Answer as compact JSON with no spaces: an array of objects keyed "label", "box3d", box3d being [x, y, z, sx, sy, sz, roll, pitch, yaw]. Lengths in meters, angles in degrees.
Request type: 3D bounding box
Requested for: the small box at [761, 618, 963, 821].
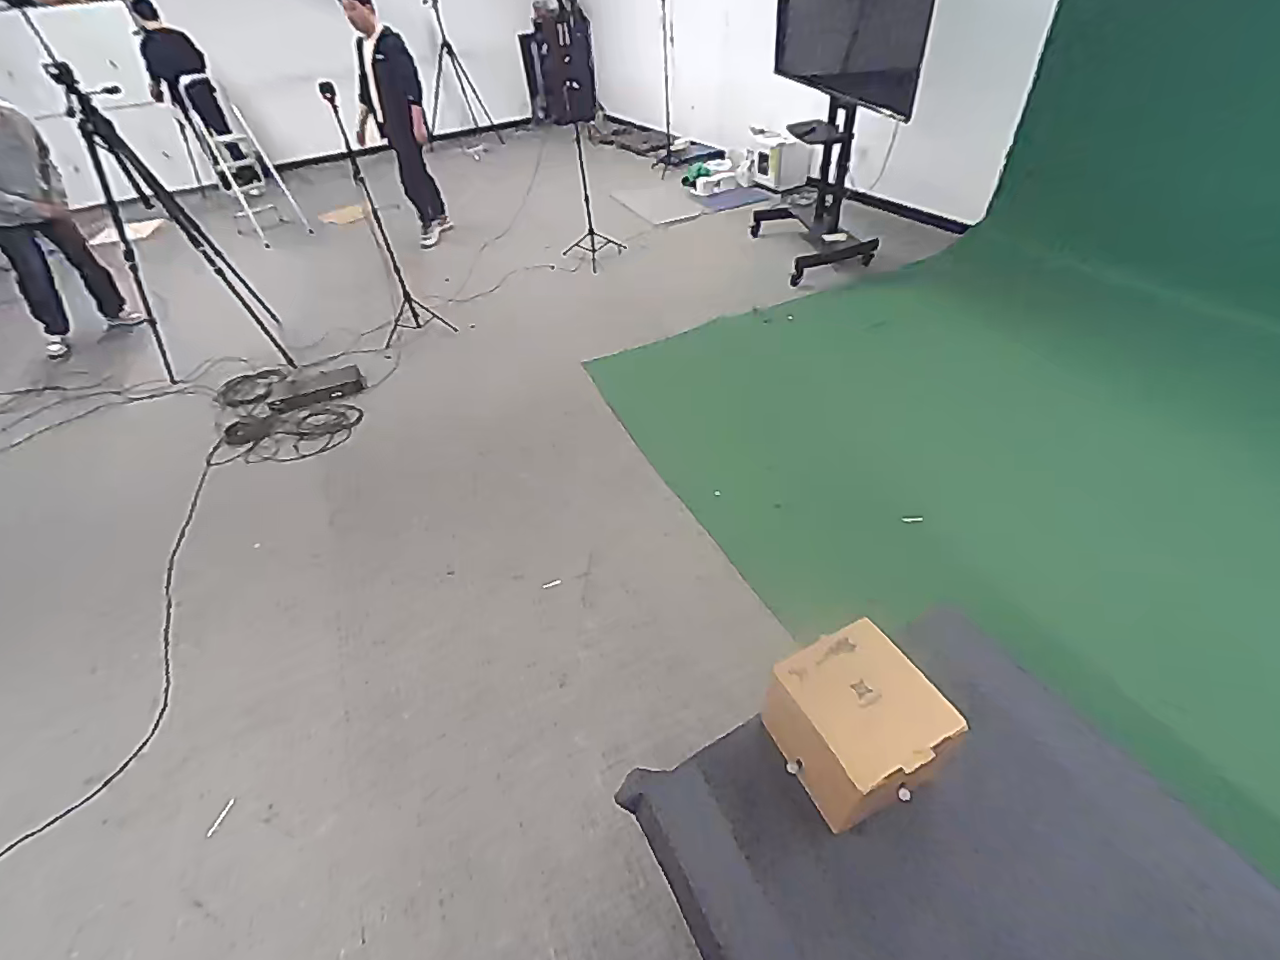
[{"label":"small box","box3d":[0.283,0.328,0.732,0.168,0.176,0.179,-21,46,-16]}]
